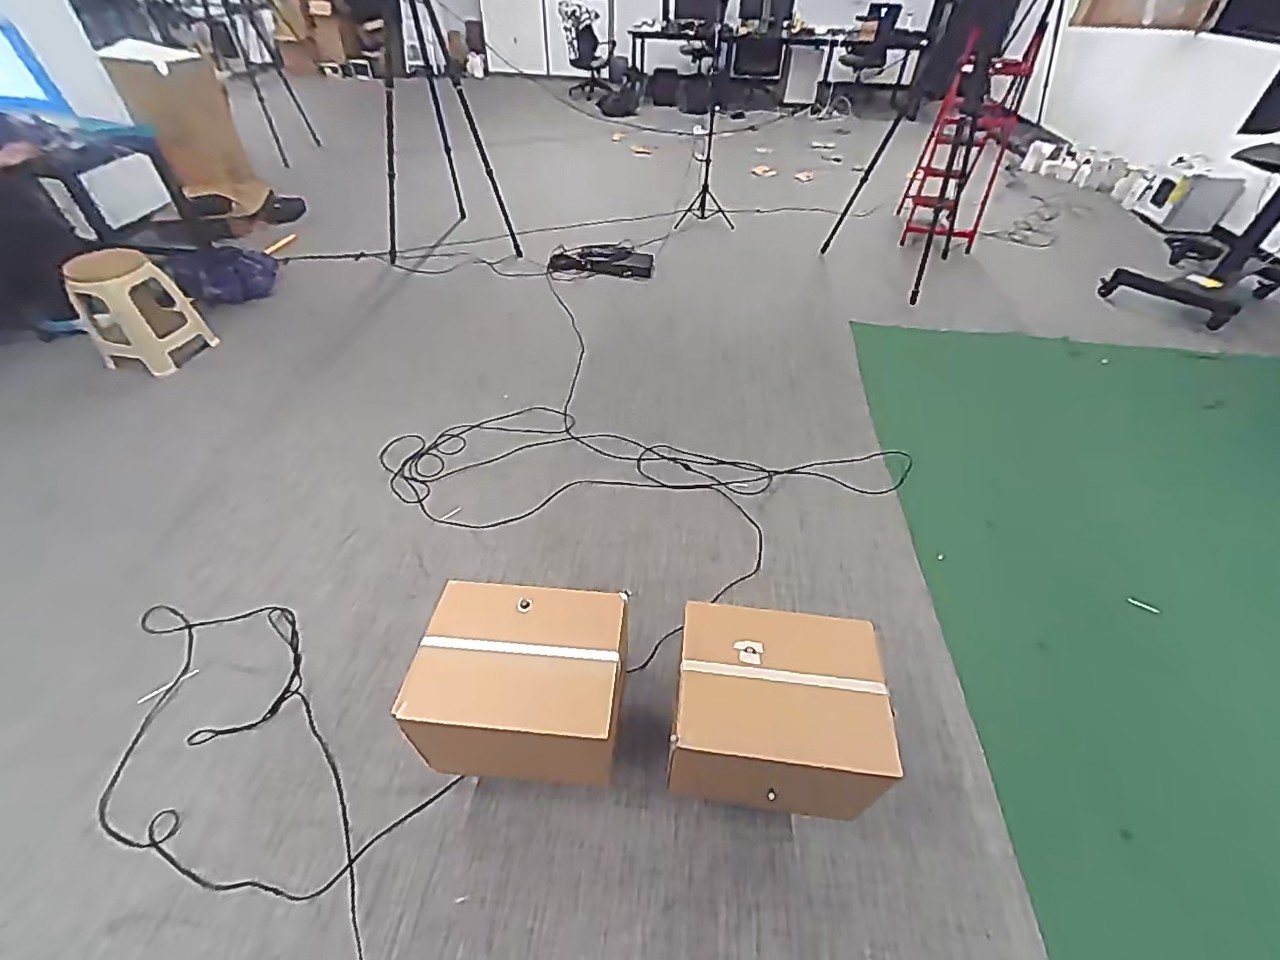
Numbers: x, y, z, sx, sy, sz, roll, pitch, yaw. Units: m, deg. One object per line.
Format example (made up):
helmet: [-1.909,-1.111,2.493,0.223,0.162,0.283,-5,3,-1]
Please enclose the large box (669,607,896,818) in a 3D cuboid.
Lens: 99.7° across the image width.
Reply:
large box: [0.281,0.512,1.190,0.408,0.320,0.320,6,45,5]
